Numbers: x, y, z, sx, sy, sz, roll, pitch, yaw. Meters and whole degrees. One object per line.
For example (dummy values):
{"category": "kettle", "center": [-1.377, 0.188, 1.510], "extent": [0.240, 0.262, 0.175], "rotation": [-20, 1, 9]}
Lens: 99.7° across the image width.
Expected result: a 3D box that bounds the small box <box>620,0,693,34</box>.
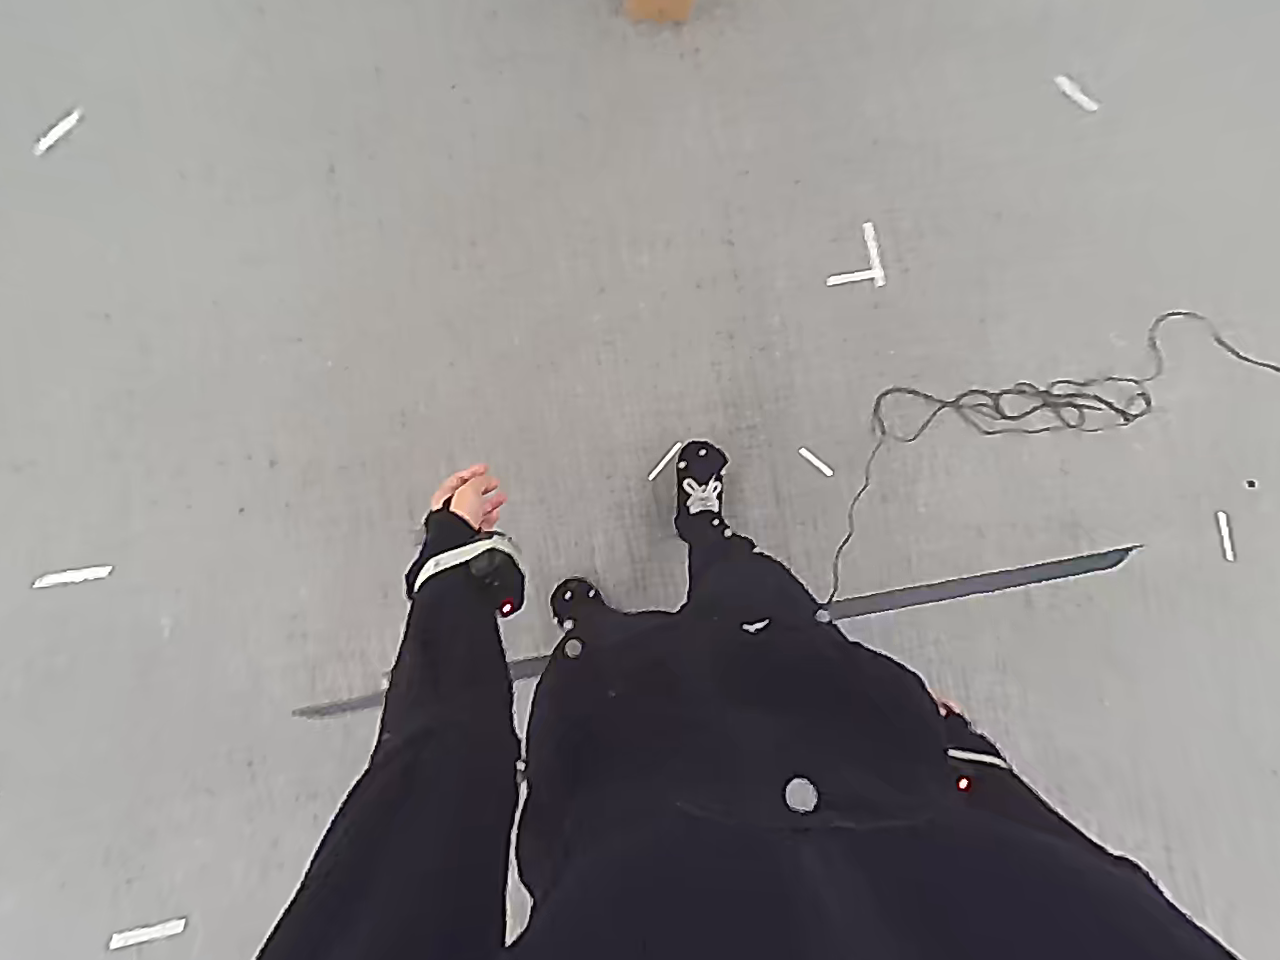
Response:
{"category": "small box", "center": [0.044, -1.260, 1.348], "extent": [0.179, 0.176, 0.168], "rotation": [-2, 88, -6]}
